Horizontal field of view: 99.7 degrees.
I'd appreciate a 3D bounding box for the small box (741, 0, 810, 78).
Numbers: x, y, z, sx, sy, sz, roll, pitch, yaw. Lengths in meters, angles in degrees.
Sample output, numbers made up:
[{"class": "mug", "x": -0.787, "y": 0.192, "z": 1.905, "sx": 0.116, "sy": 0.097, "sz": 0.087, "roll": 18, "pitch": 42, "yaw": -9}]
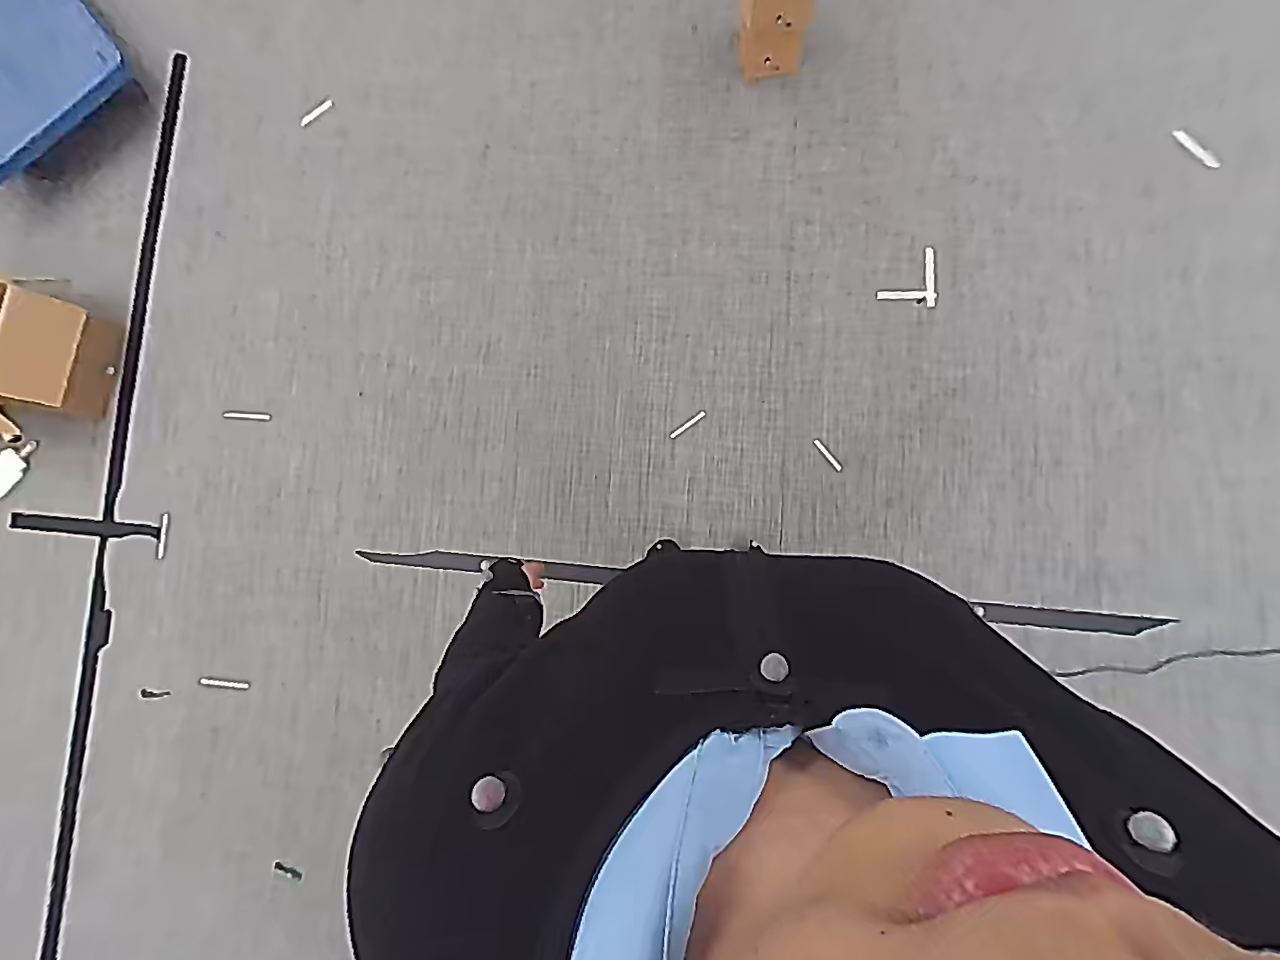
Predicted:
[{"class": "small box", "x": 0.384, "y": -1.306, "z": 1.550, "sx": 0.168, "sy": 0.176, "sz": 0.179, "roll": -2, "pitch": 85, "yaw": 5}]
